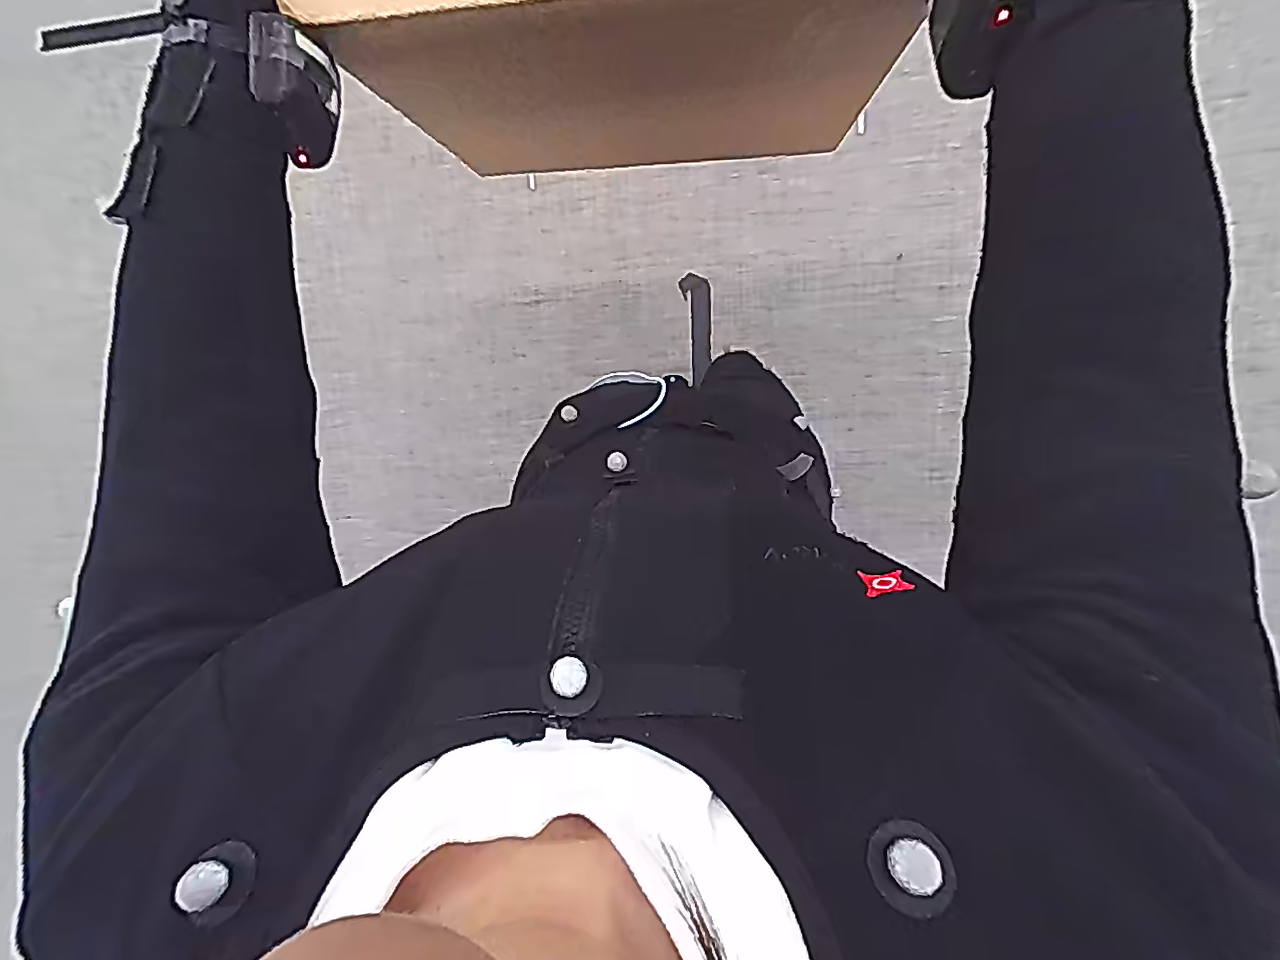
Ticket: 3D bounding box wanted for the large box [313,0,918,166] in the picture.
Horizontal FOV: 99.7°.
[{"bbox_3d":[-0.007,-0.482,0.430,0.408,0.320,0.320,-1,104,6],"label":"large box"}]
